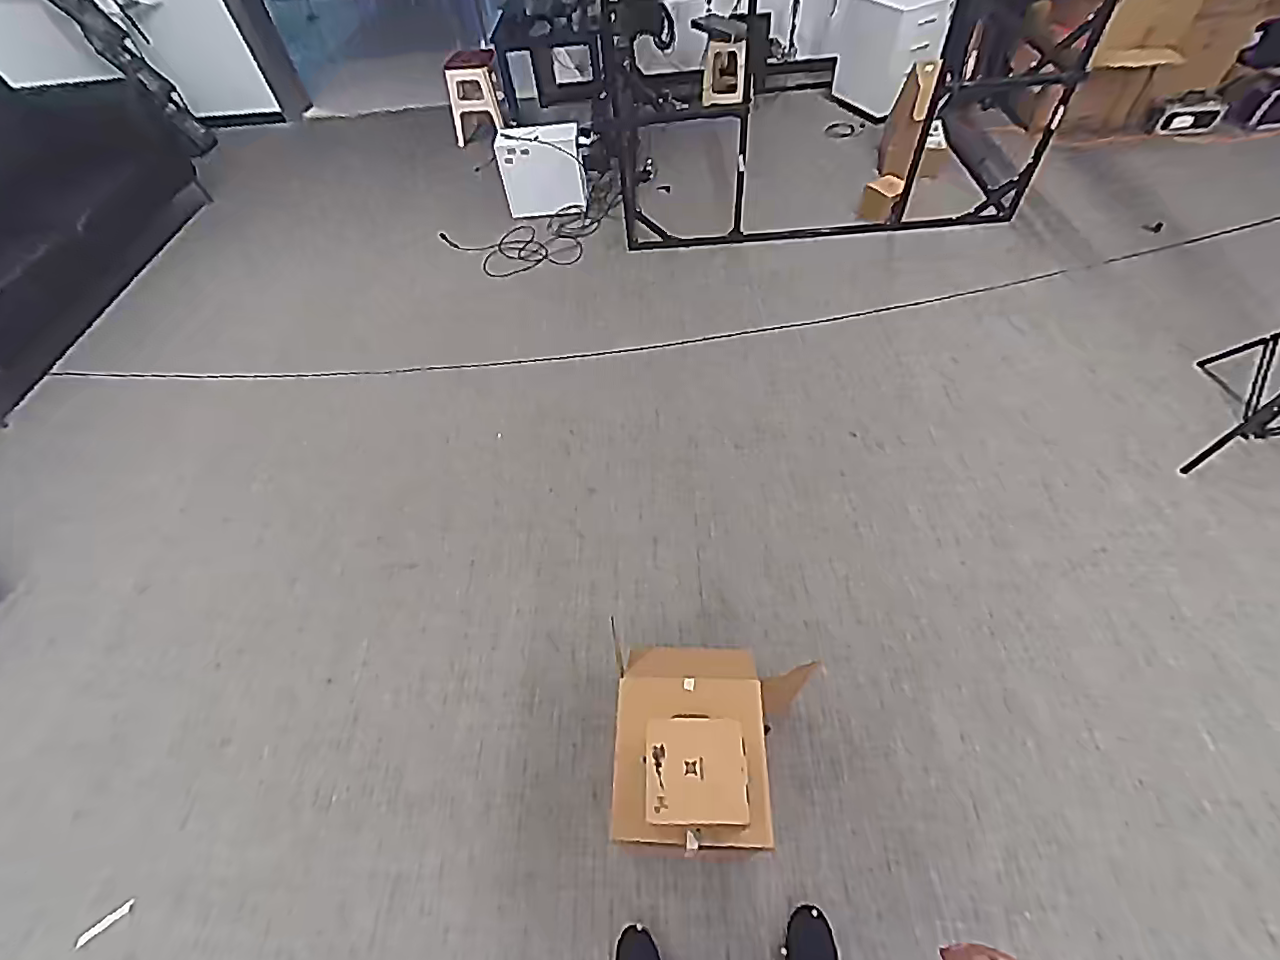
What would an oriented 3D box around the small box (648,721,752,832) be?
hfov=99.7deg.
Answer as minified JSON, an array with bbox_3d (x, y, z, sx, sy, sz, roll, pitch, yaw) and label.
[{"bbox_3d":[0.106,0.557,1.013,0.179,0.176,0.168,-1,55,4],"label":"small box"}]
